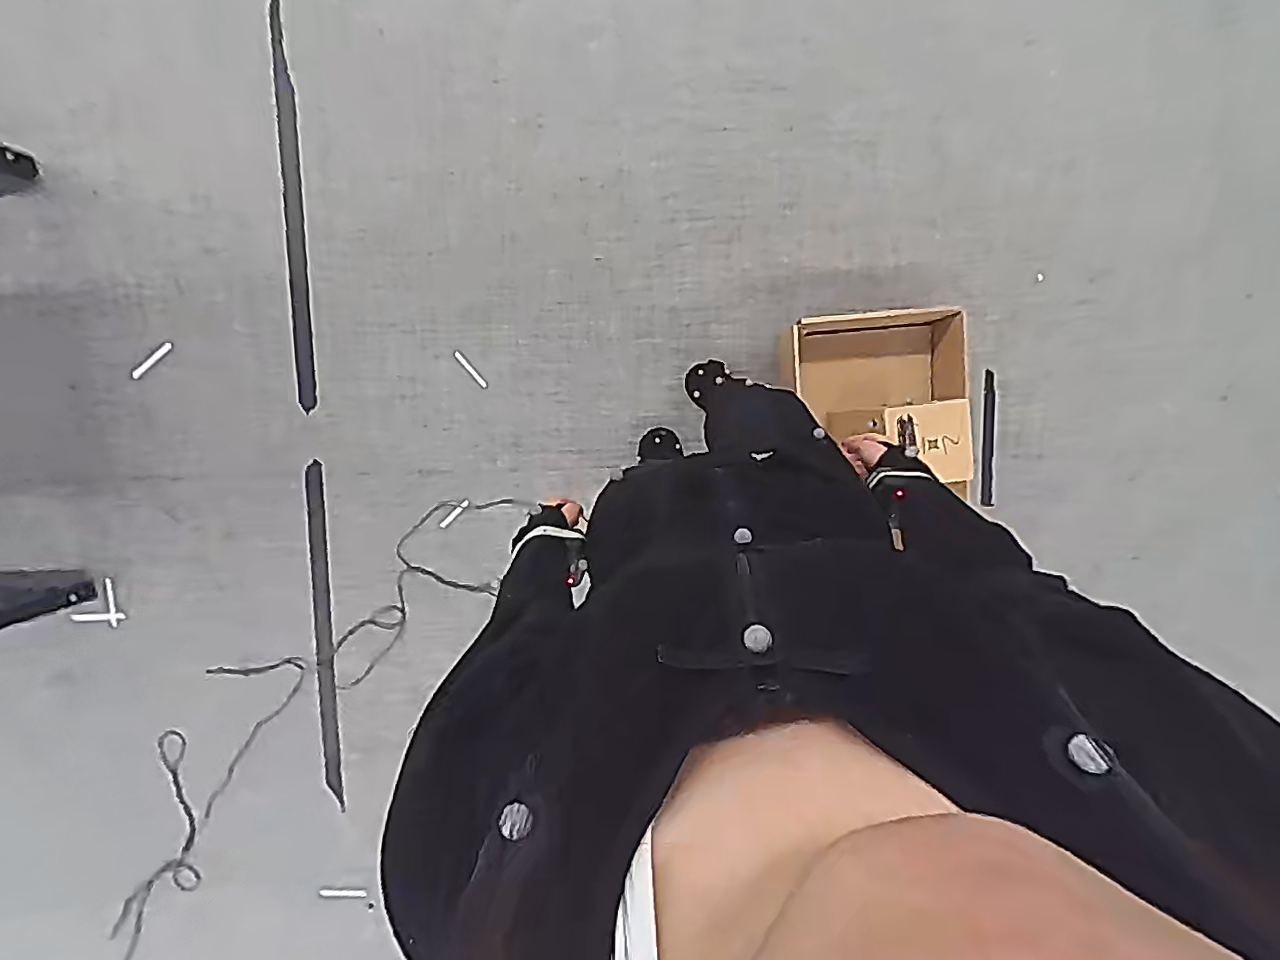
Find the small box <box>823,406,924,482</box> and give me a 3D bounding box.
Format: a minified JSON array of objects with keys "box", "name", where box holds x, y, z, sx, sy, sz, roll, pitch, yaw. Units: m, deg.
[{"box":[0.570,-0.093,1.336,0.179,0.176,0.168,-7,96,1],"name":"small box"}]
